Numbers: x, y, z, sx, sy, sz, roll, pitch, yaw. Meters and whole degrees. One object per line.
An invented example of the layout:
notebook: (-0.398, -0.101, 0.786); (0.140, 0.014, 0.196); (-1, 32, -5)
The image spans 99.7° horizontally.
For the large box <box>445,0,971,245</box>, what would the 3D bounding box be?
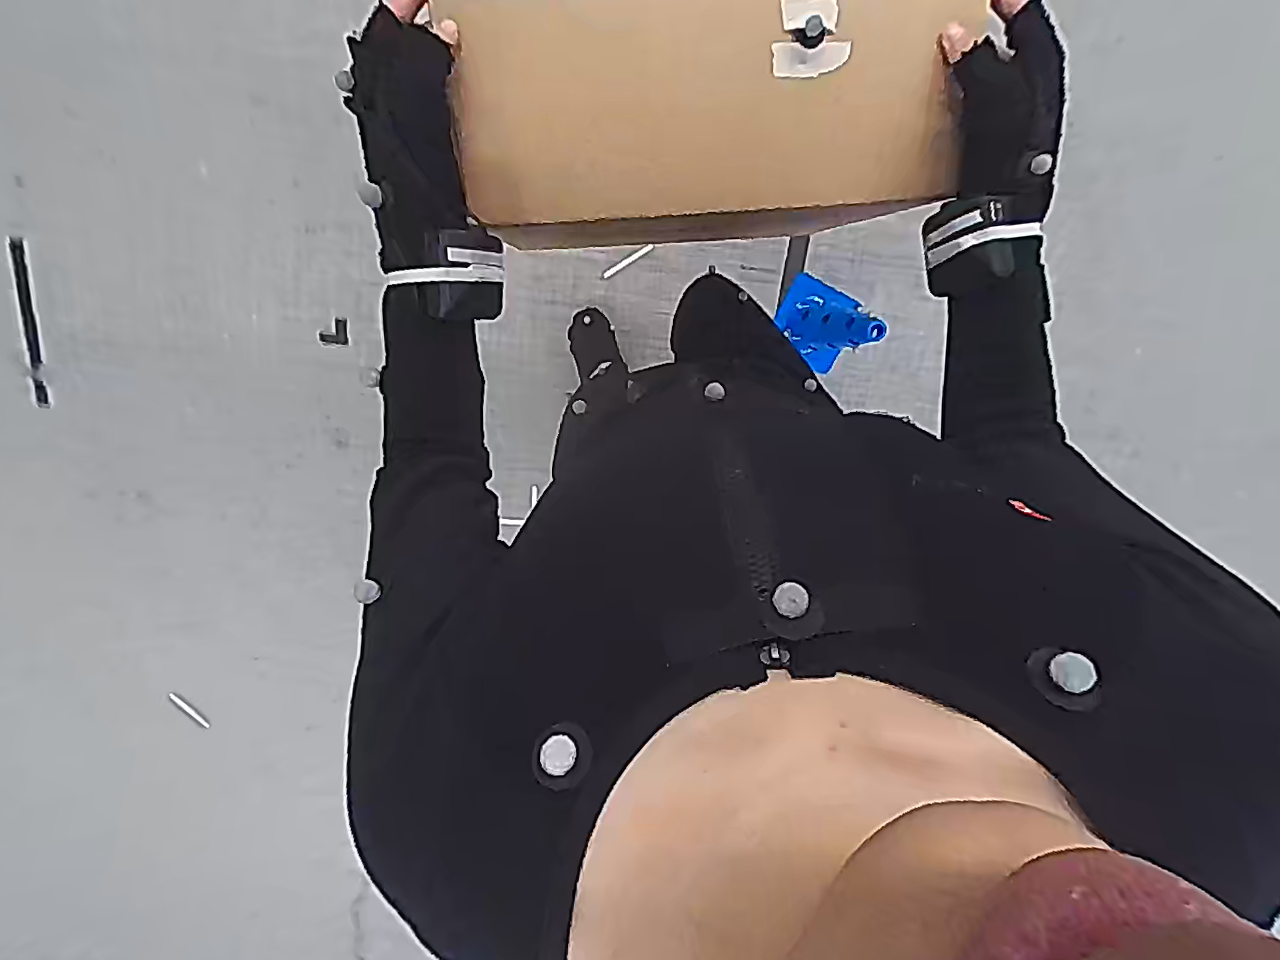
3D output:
large box: (0.040, -0.423, 0.534); (0.408, 0.320, 0.320); (-4, 110, -4)

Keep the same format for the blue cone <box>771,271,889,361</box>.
blue cone: (0.459, -0.371, 1.238); (0.193, 0.380, 0.192); (25, 104, -10)
